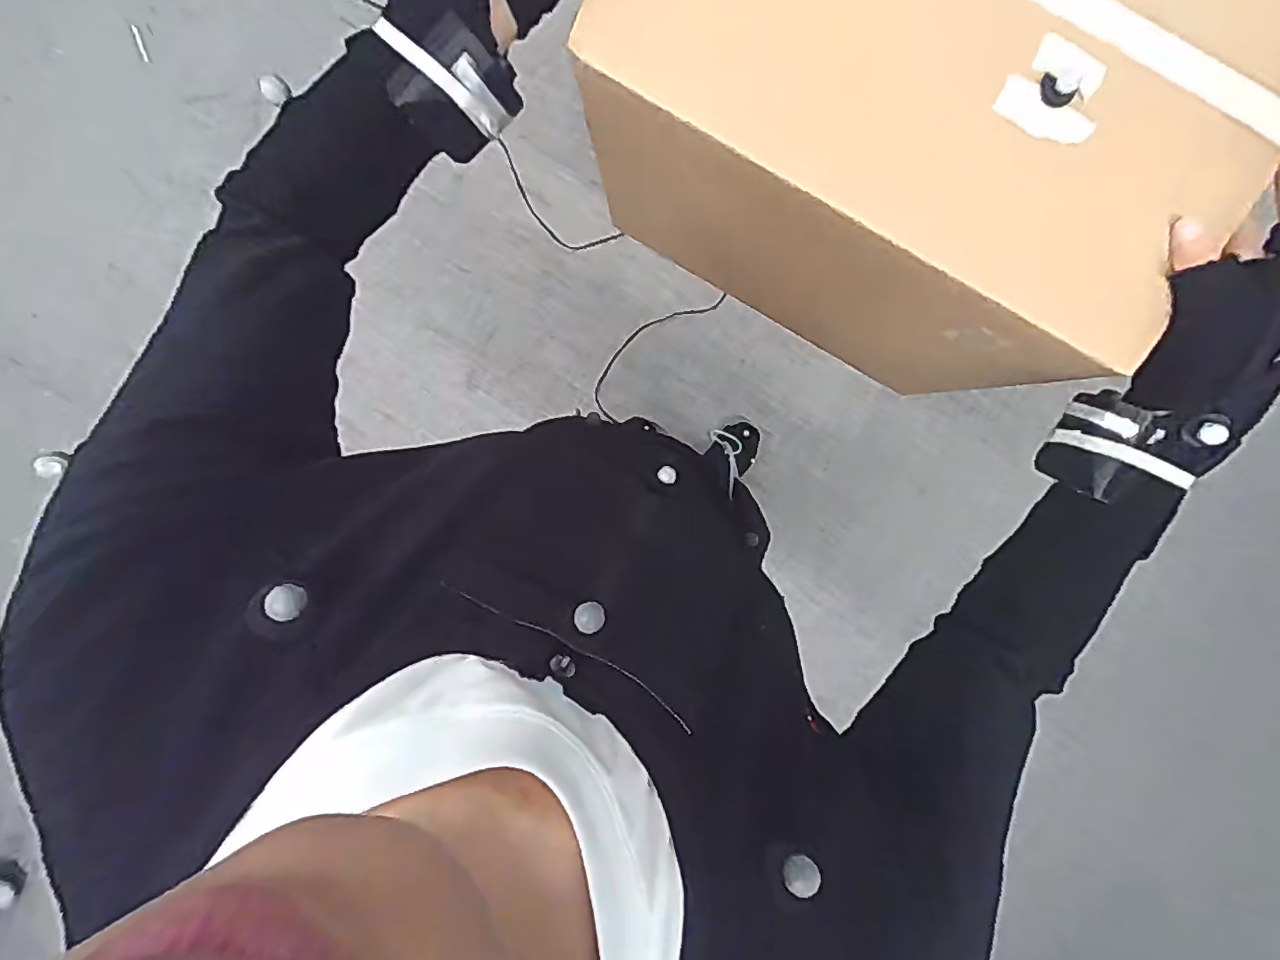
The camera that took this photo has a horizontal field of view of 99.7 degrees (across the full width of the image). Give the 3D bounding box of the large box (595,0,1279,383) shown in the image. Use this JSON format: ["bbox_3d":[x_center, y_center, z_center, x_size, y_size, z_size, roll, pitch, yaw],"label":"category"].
[{"bbox_3d":[0.214,-0.321,0.477,0.408,0.320,0.320,29,97,-3],"label":"large box"}]
